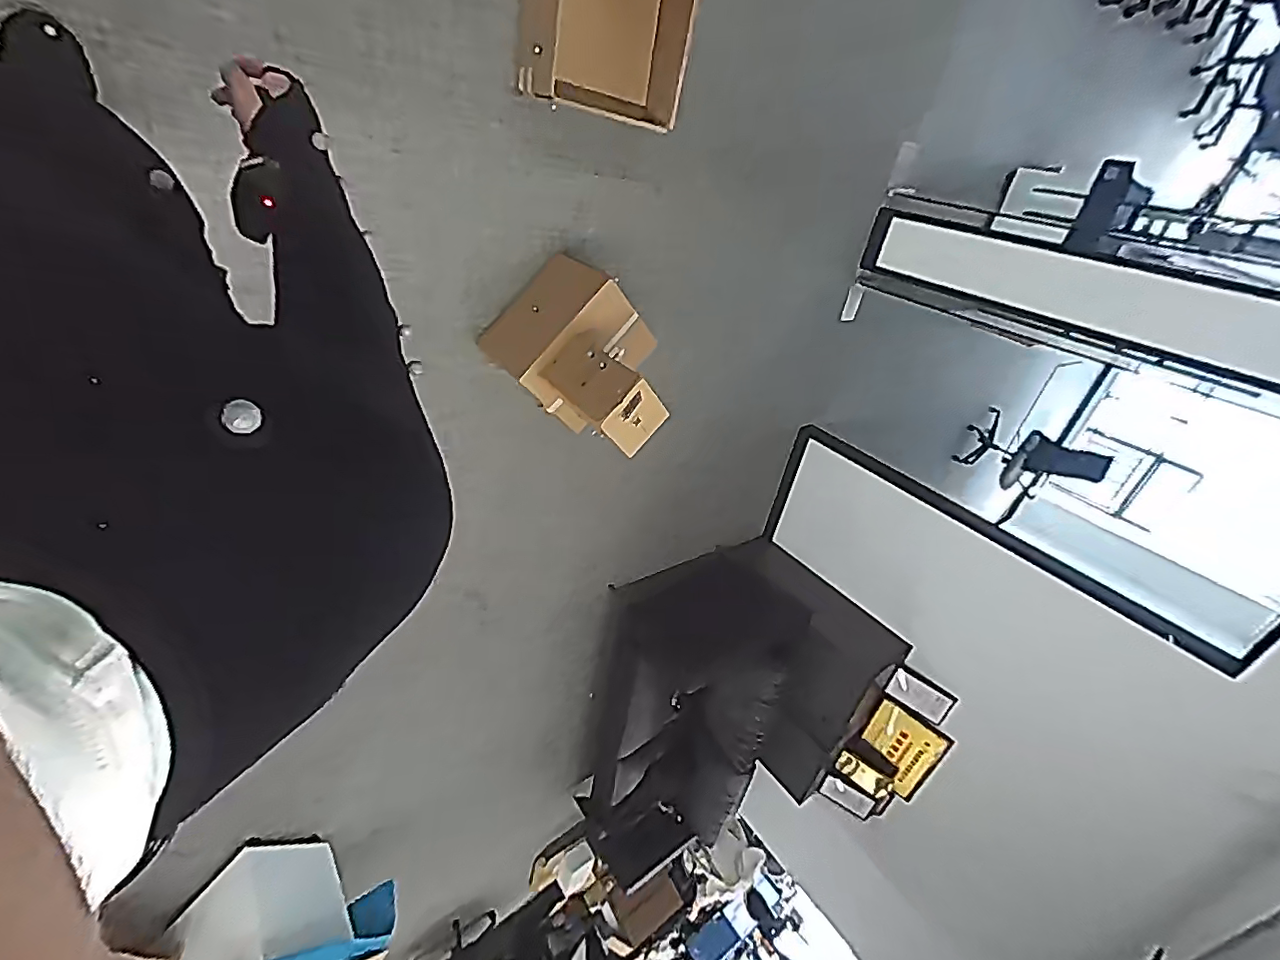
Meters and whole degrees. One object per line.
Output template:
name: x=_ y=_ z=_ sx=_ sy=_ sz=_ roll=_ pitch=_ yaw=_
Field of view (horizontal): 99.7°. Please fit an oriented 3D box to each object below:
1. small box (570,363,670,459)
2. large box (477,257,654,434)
small box: x=-0.057 y=-0.192 z=1.455 sx=0.168 sy=0.176 sz=0.179 roll=-48 pitch=142 yaw=-3
large box: x=-0.239 y=-0.433 z=1.743 sx=0.408 sy=0.320 sz=0.320 roll=-50 pitch=142 yaw=-2
